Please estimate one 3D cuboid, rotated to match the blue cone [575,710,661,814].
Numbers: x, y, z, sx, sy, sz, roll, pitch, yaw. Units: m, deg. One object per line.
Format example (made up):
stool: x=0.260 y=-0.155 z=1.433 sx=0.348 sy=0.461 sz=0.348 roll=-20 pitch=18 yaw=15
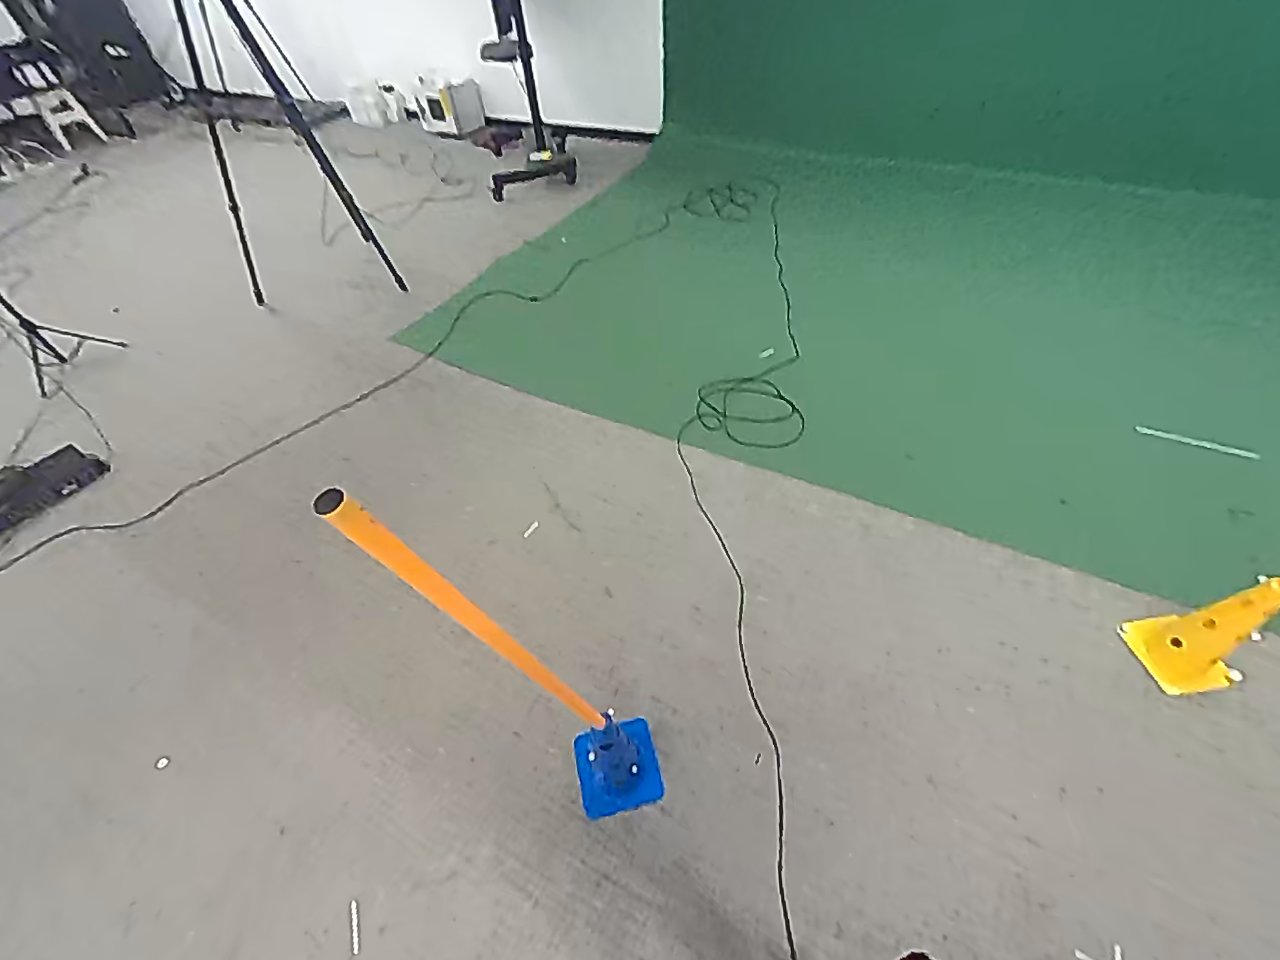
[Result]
blue cone: x=-0.070 y=0.601 z=1.213 sx=0.193 sy=0.380 sz=0.192 roll=-16 pitch=51 yaw=-7
